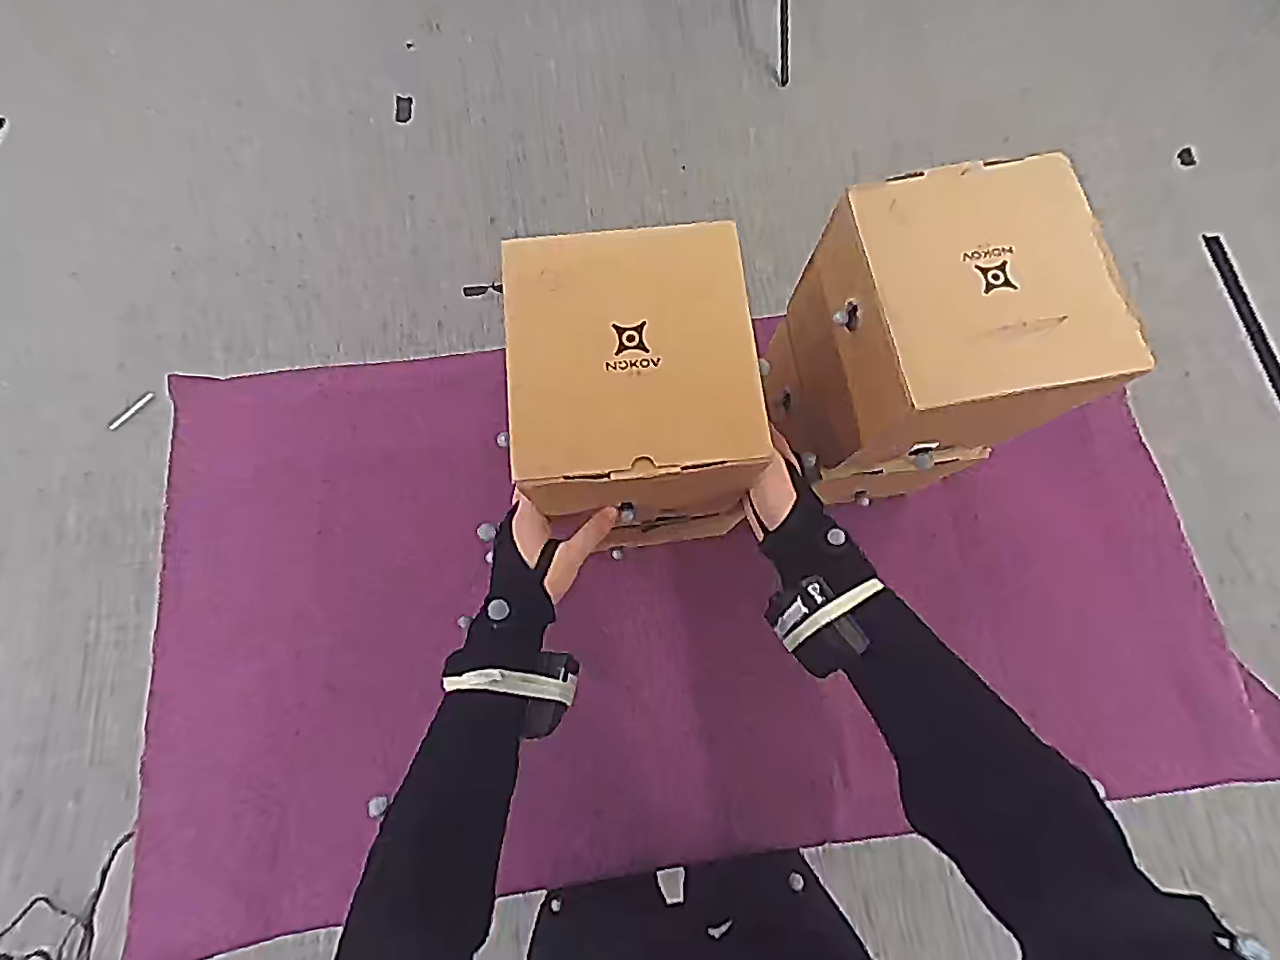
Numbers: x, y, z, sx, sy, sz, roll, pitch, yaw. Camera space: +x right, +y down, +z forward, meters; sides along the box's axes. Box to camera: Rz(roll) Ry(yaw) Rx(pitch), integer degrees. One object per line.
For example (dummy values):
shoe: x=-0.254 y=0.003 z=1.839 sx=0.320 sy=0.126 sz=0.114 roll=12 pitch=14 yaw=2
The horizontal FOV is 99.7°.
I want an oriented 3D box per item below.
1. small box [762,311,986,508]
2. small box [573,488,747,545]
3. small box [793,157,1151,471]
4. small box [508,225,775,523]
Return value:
small box: x=0.236 y=-0.077 z=0.605 sx=0.168 sy=0.176 sz=0.179 roll=-8 pitch=77 yaw=-1
small box: x=0.010 y=-0.027 z=0.592 sx=0.168 sy=0.176 sz=0.179 roll=-8 pitch=76 yaw=-2
small box: x=0.242 y=-0.121 z=0.449 sx=0.168 sy=0.176 sz=0.179 roll=-10 pitch=77 yaw=-1
small box: x=-0.004 y=-0.070 z=0.435 sx=0.168 sy=0.176 sz=0.179 roll=-6 pitch=77 yaw=-2
